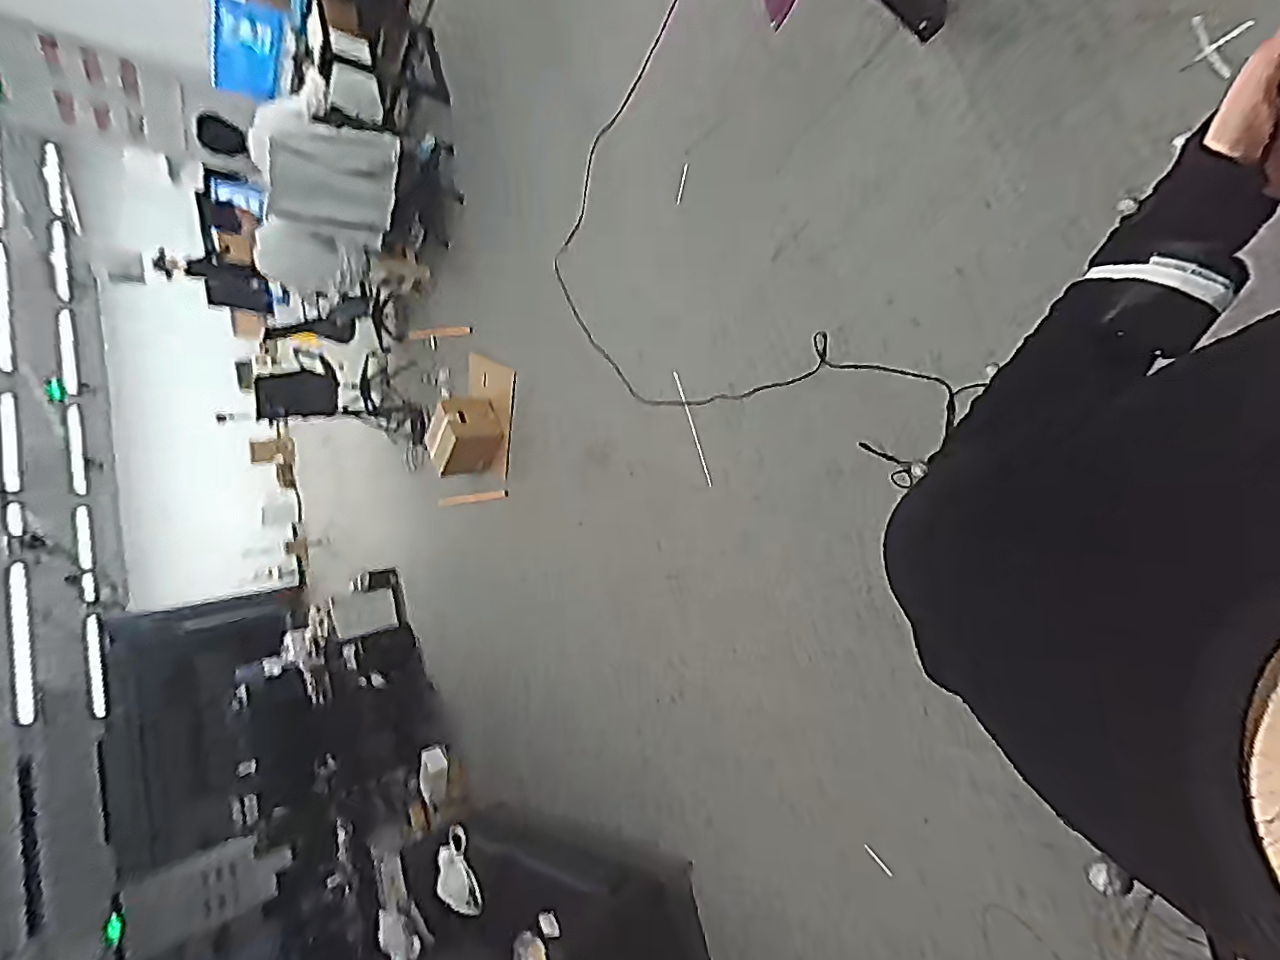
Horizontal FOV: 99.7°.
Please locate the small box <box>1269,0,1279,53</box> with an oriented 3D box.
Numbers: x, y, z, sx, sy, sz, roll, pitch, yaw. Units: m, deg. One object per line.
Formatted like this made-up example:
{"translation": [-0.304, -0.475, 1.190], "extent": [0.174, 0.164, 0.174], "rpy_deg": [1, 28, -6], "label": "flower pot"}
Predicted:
{"translation": [0.460, -0.261, 0.241], "extent": [0.168, 0.176, 0.179], "rpy_deg": [51, 133, 25], "label": "small box"}
